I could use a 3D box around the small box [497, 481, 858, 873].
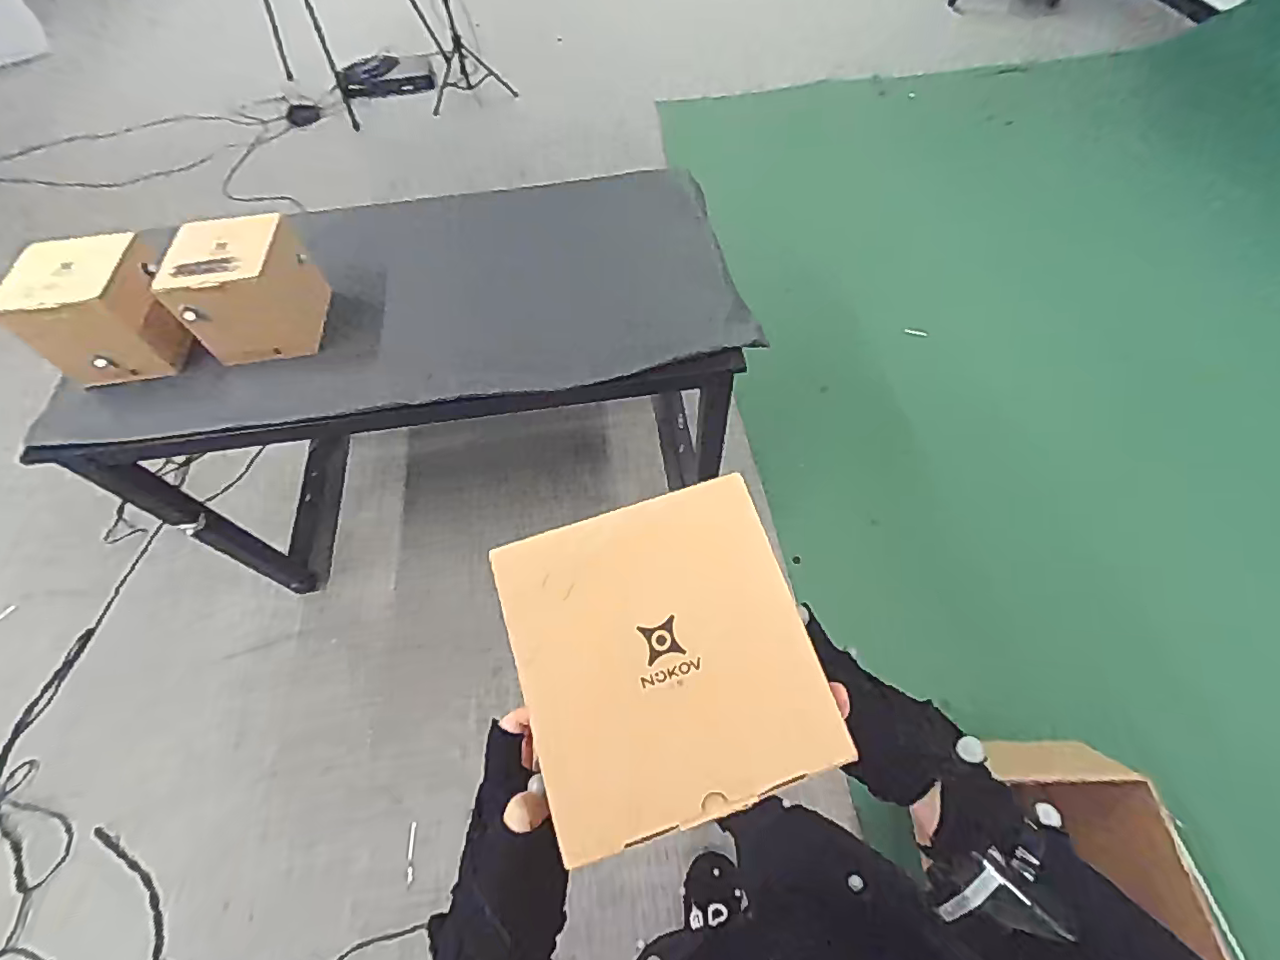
[{"bbox_3d":[0.013,0.127,0.384,0.168,0.176,0.179,-18,72,-8],"label":"small box"}]

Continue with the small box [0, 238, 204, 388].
[{"bbox_3d":[-0.901,-0.284,0.927,0.168,0.176,0.179,-8,58,-4],"label":"small box"}]
